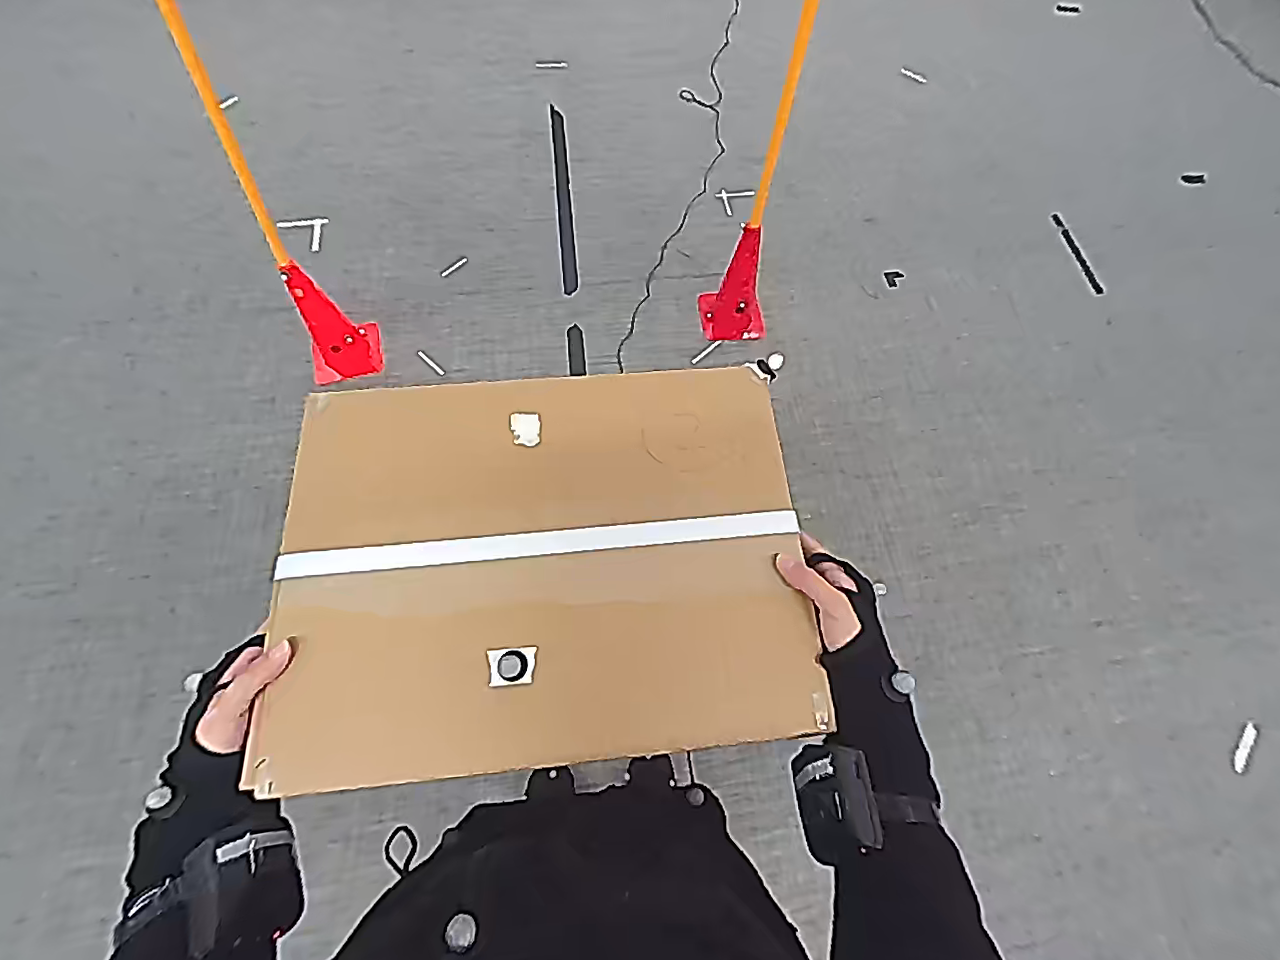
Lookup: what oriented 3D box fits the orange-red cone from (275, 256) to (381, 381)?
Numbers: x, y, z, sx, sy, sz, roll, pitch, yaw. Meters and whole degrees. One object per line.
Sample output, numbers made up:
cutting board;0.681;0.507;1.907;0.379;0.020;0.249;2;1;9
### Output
orange-red cone;-0.892;-0.465;1.495;0.199;0.360;0.198;-14;66;-8
